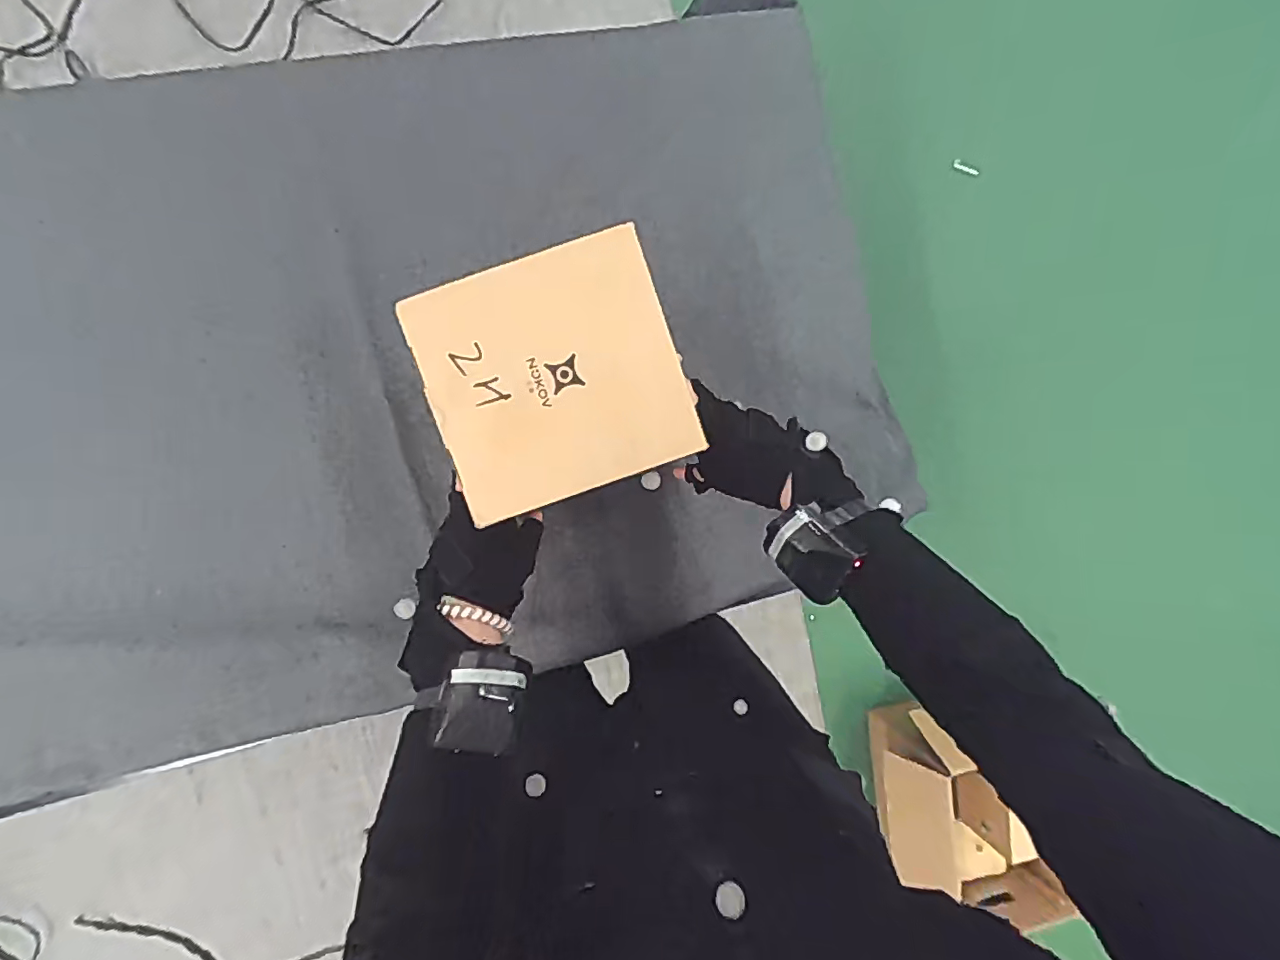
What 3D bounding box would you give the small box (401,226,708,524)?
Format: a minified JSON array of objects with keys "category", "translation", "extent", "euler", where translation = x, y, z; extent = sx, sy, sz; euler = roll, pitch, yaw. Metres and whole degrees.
[{"category":"small box","translation":[-0.059,-0.076,0.451],"extent":[0.179,0.176,0.168],"euler":[-18,93,1]}]
